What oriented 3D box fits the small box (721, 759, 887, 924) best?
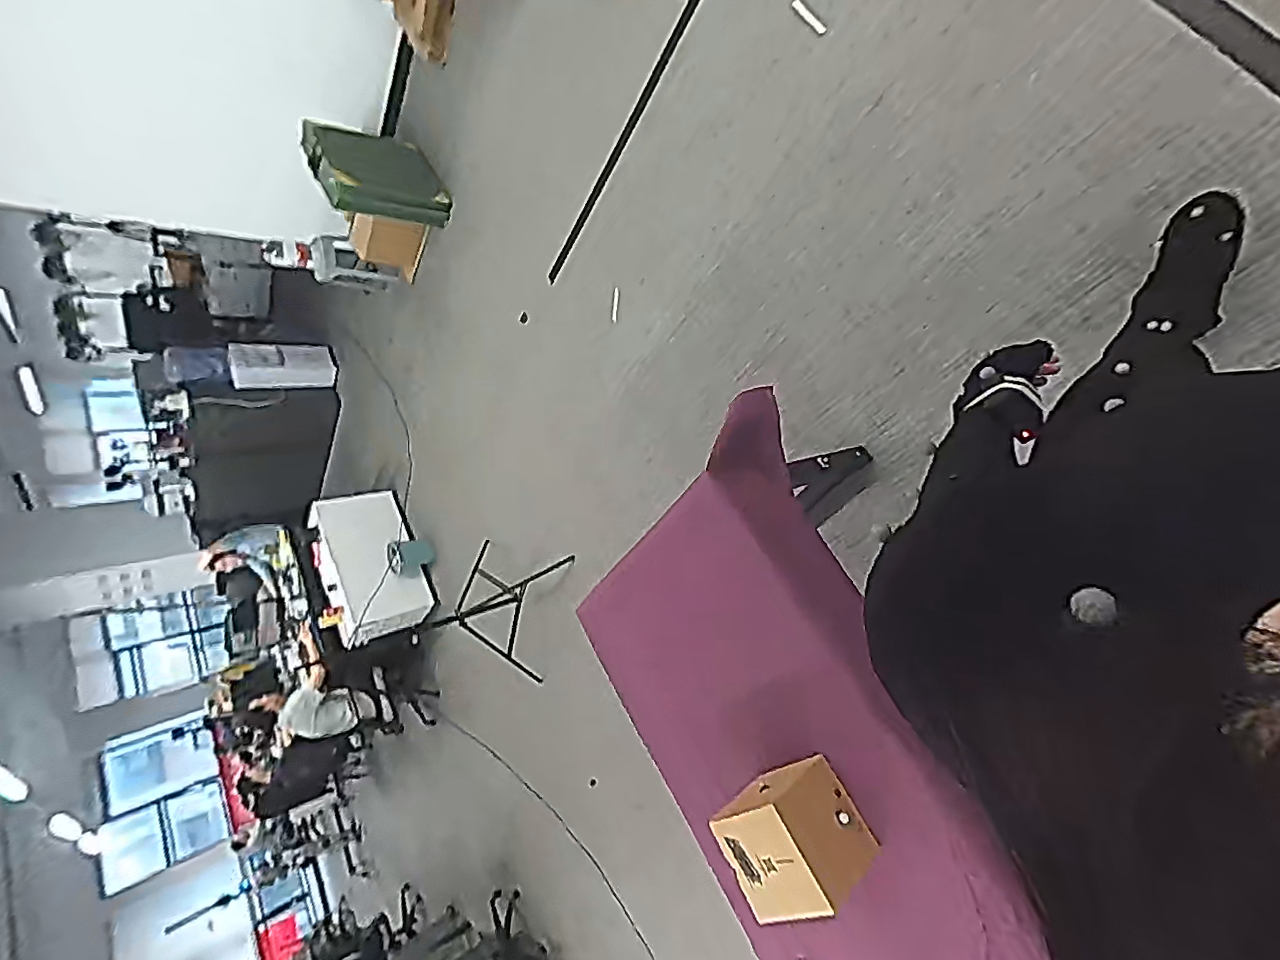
[{"bbox_3d":[0.279,0.611,0.923,0.168,0.176,0.179,58,133,21],"label":"small box"}]
